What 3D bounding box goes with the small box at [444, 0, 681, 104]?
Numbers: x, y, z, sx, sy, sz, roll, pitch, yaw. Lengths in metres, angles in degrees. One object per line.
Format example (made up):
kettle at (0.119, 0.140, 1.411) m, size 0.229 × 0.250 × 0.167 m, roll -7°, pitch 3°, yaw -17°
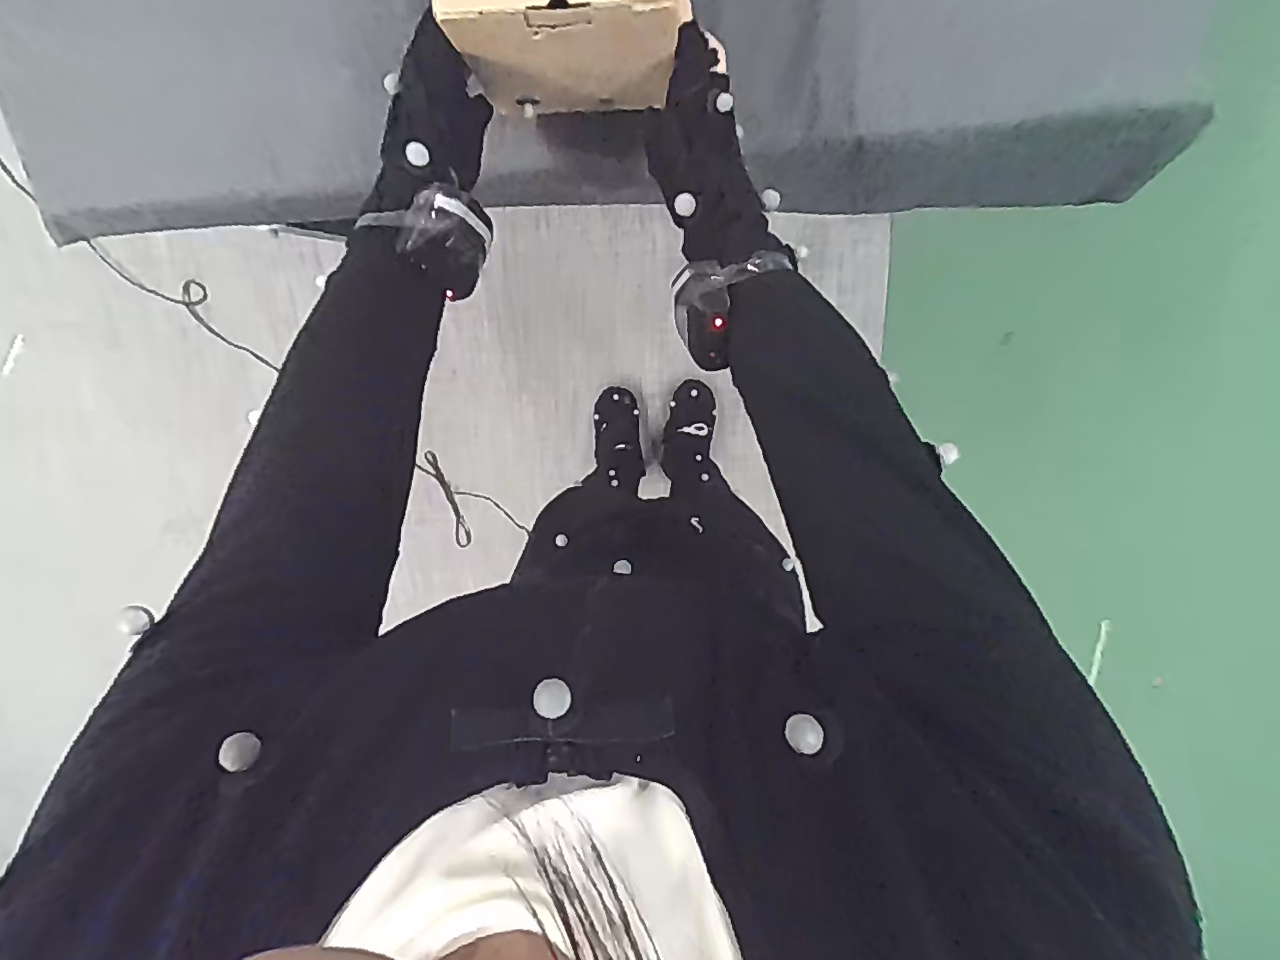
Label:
small box at (-0.050, -0.419, 0.420) m, size 0.168 × 0.176 × 0.179 m, roll 0°, pitch 104°, yaw 1°
